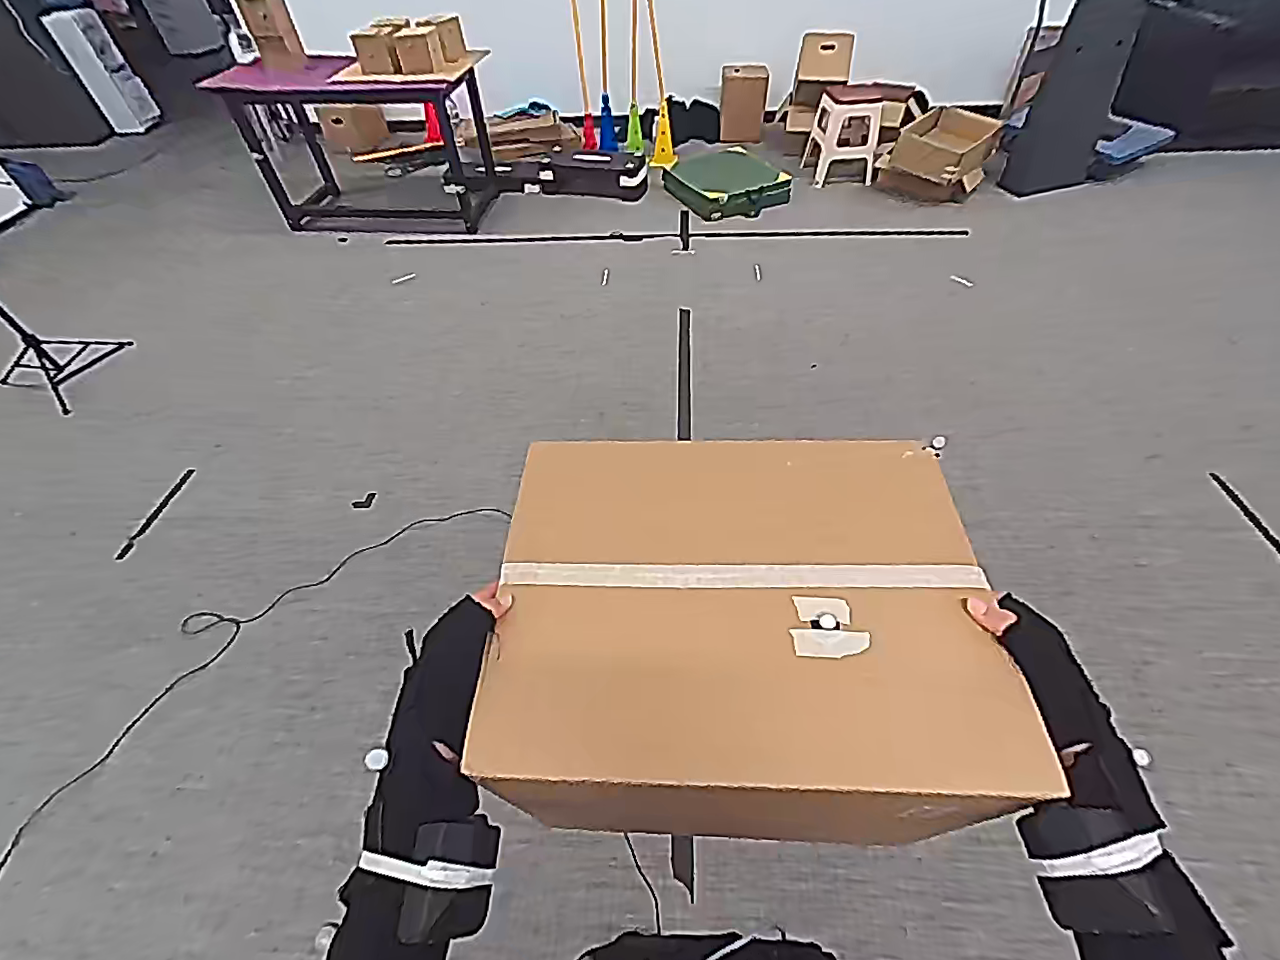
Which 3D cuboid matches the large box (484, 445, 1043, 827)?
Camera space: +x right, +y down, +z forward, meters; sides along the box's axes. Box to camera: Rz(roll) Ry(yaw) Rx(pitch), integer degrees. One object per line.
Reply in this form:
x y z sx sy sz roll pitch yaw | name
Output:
0.091 0.177 0.588 0.408 0.320 0.320 0 53 3 | large box
